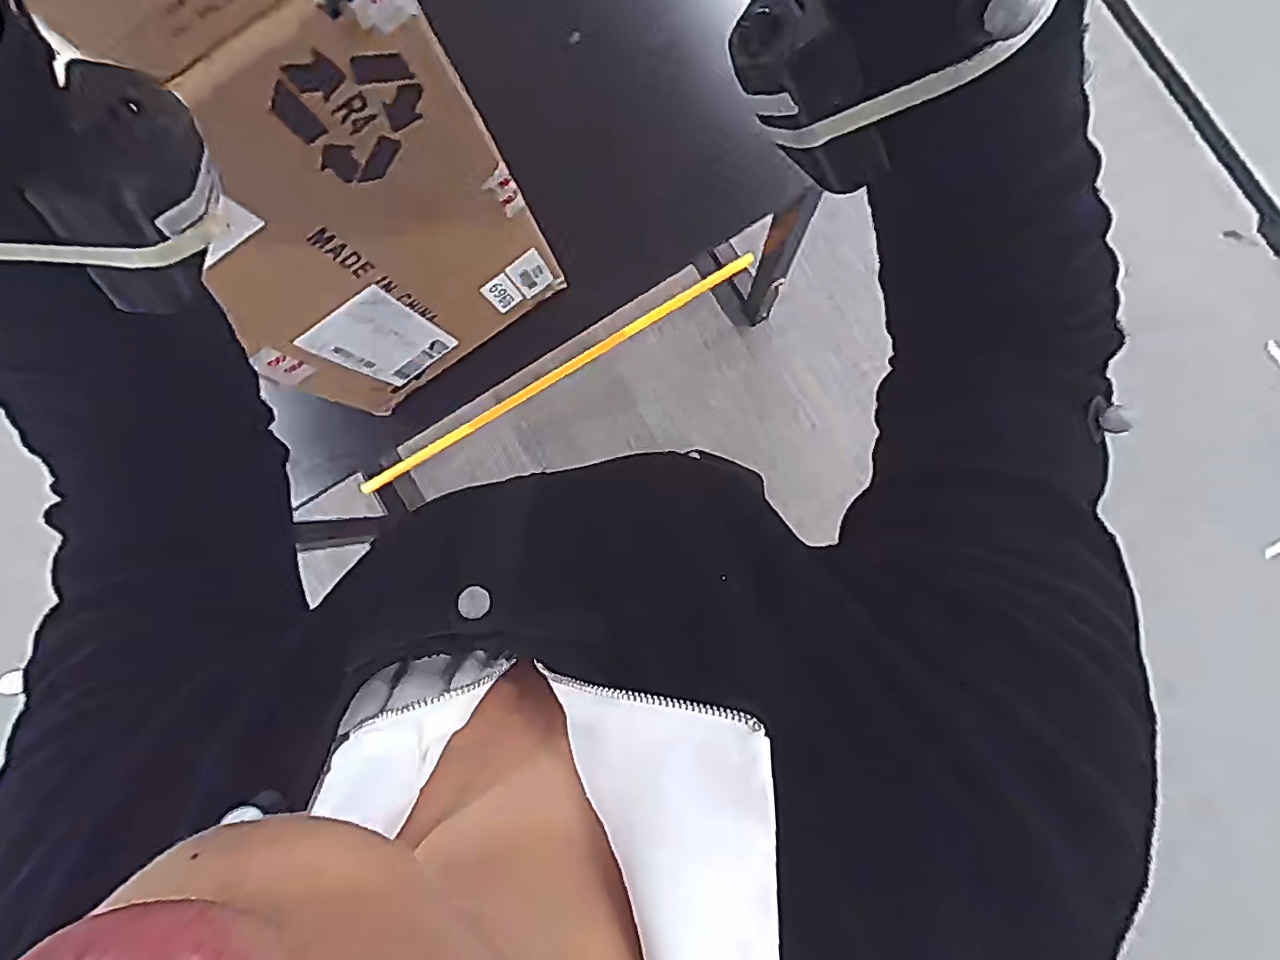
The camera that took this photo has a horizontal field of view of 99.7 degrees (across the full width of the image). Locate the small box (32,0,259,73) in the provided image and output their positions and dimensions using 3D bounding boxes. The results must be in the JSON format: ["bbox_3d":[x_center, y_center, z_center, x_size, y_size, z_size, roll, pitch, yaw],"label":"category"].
[{"bbox_3d":[-0.275,-0.341,0.232,0.168,0.176,0.179,-34,87,1],"label":"small box"}]
